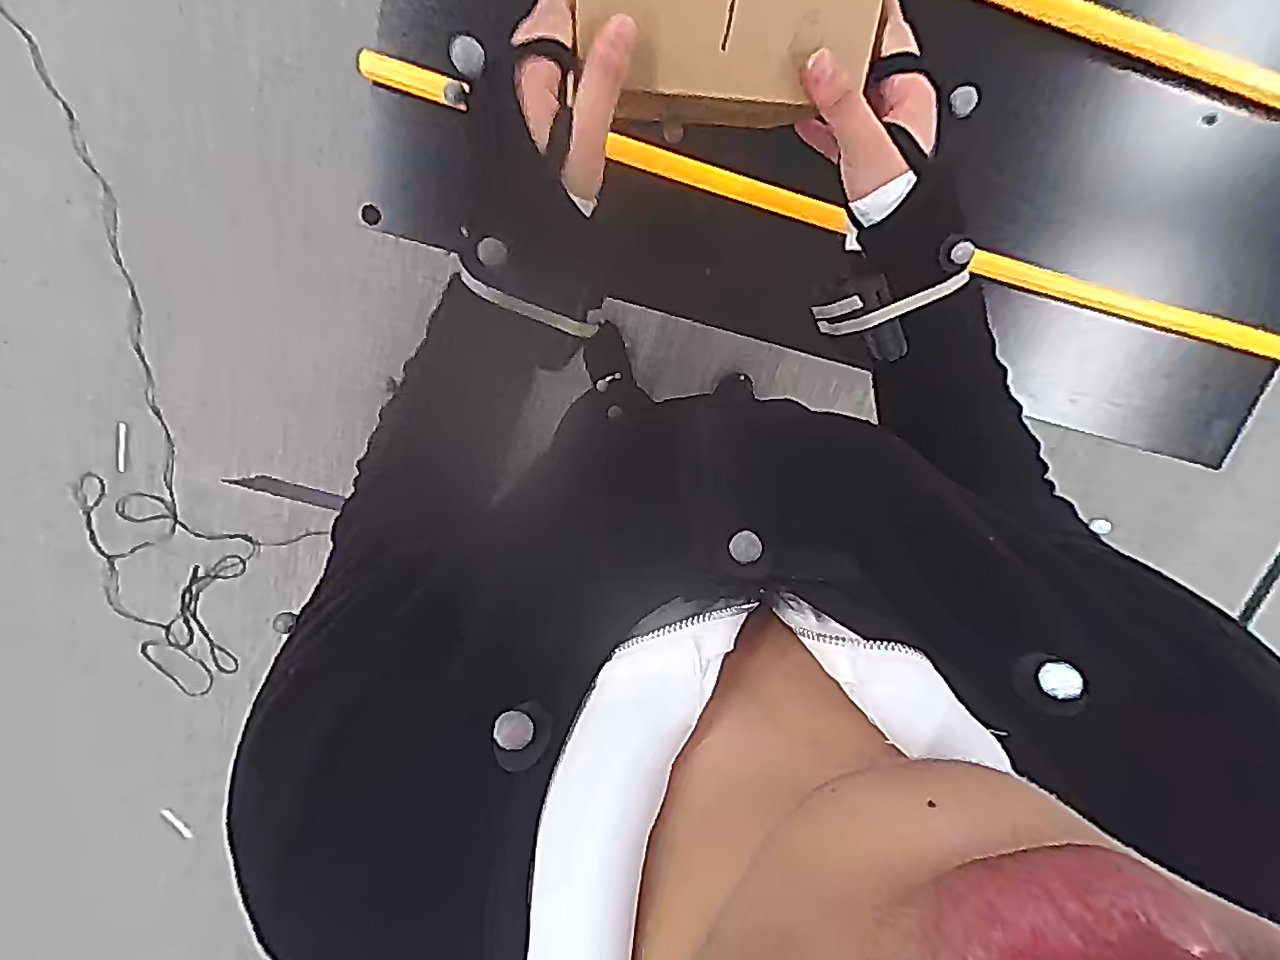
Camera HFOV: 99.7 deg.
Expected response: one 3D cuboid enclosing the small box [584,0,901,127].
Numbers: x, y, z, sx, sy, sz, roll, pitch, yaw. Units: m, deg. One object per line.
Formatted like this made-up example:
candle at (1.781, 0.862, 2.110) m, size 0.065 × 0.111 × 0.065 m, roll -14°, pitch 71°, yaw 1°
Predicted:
small box at (0.052, -0.331, 0.331) m, size 0.168 × 0.176 × 0.179 m, roll -1°, pitch 121°, yaw -8°
